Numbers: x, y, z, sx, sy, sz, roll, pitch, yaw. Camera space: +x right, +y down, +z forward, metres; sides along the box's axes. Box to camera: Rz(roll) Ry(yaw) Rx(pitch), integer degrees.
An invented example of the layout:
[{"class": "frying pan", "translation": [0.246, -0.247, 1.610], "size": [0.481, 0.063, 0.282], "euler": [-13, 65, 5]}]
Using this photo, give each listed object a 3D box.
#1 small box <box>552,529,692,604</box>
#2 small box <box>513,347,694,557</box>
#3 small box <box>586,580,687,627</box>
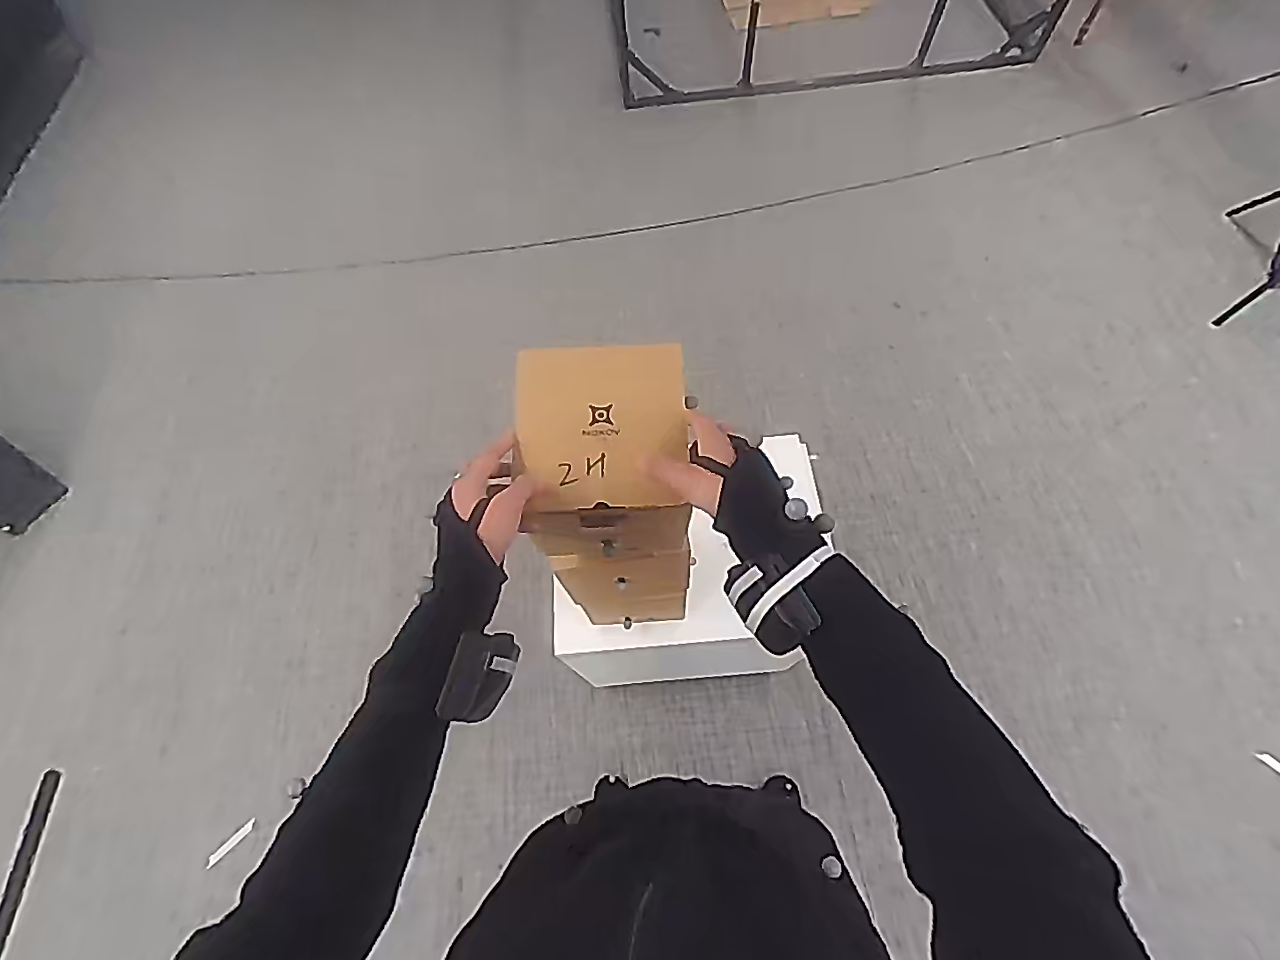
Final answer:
[{"class": "small box", "translation": [-0.025, 0.069, 0.771], "size": [0.179, 0.176, 0.168], "euler": [-8, 62, 1]}, {"class": "small box", "translation": [-0.034, -0.022, 0.587], "size": [0.168, 0.176, 0.179], "euler": [-2, 70, 1]}, {"class": "small box", "translation": [-0.010, 0.142, 0.918], "size": [0.168, 0.176, 0.179], "euler": [-4, 63, 2]}]
